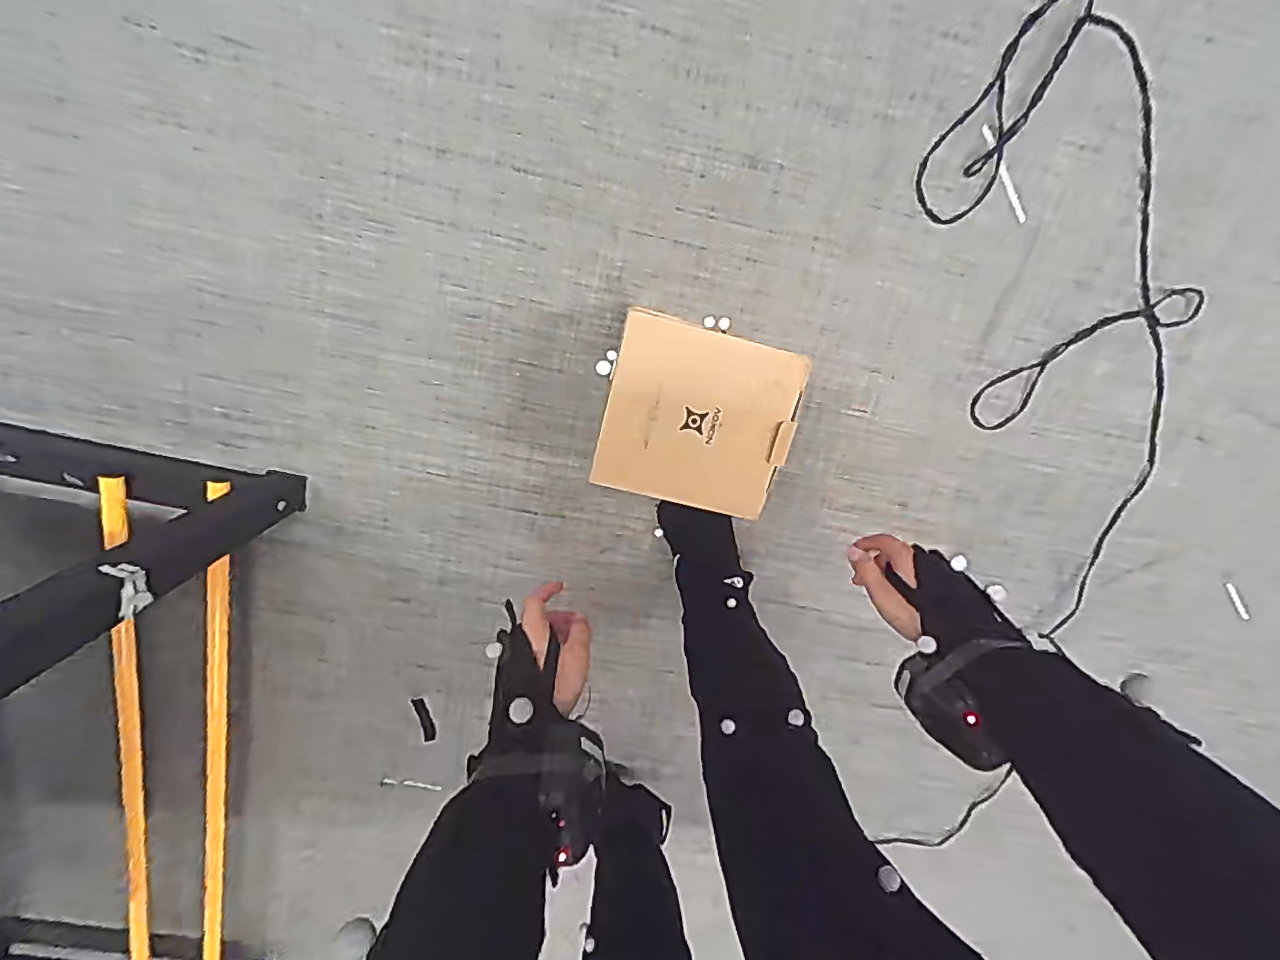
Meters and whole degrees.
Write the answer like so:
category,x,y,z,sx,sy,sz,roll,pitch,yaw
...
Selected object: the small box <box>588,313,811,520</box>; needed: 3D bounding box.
category,x,y,z,sx,sy,sz,roll,pitch,yaw
small box,0.051,-0.077,0.580,0.179,0.176,0.168,13,106,-5
